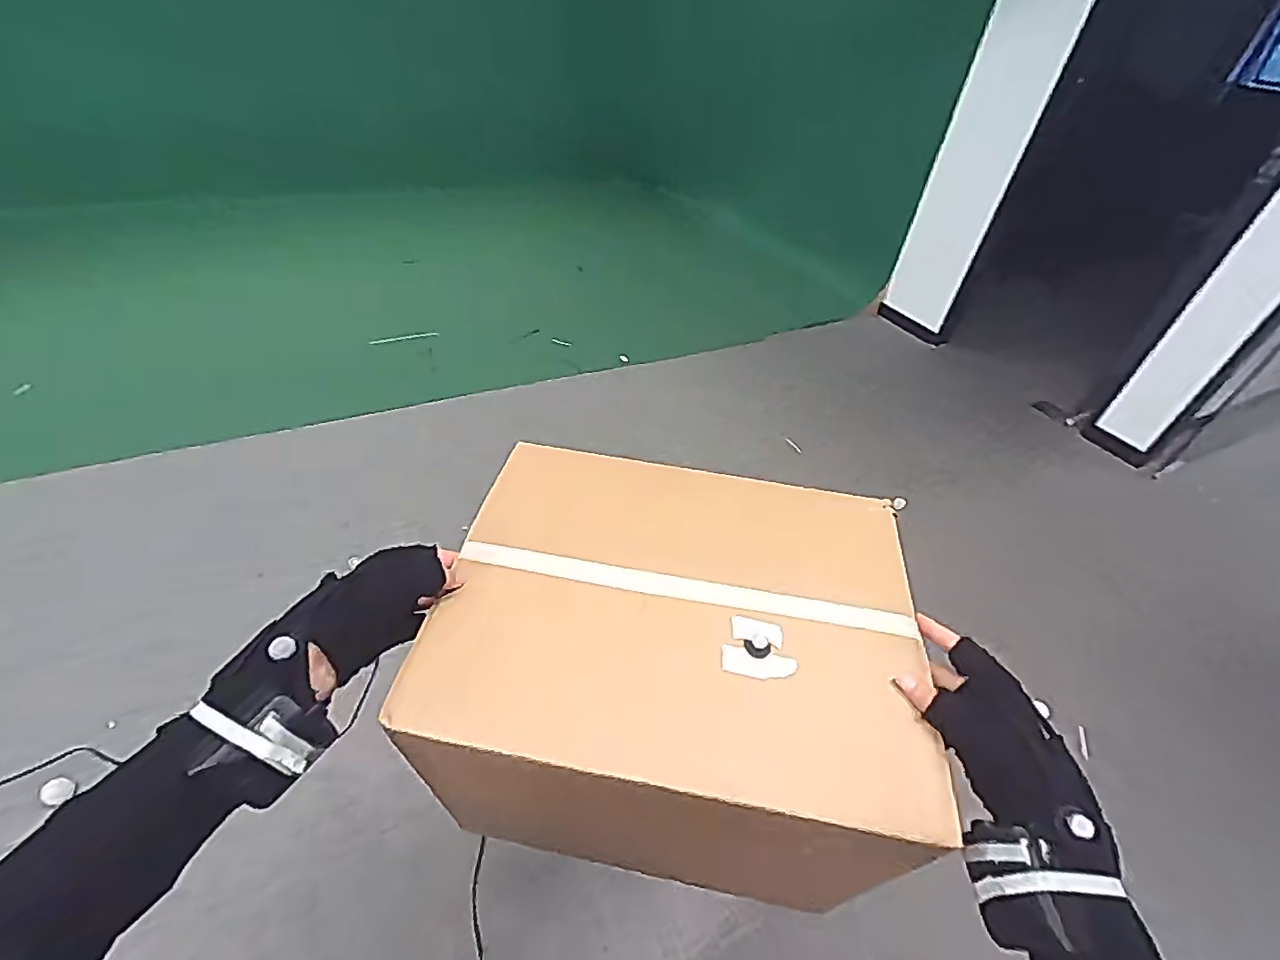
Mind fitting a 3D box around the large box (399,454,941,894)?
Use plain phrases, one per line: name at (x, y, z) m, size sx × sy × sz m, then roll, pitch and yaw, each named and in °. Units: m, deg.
large box at (0.028, 0.206, 0.594) m, size 0.408 × 0.320 × 0.320 m, roll 9°, pitch 46°, yaw 5°
